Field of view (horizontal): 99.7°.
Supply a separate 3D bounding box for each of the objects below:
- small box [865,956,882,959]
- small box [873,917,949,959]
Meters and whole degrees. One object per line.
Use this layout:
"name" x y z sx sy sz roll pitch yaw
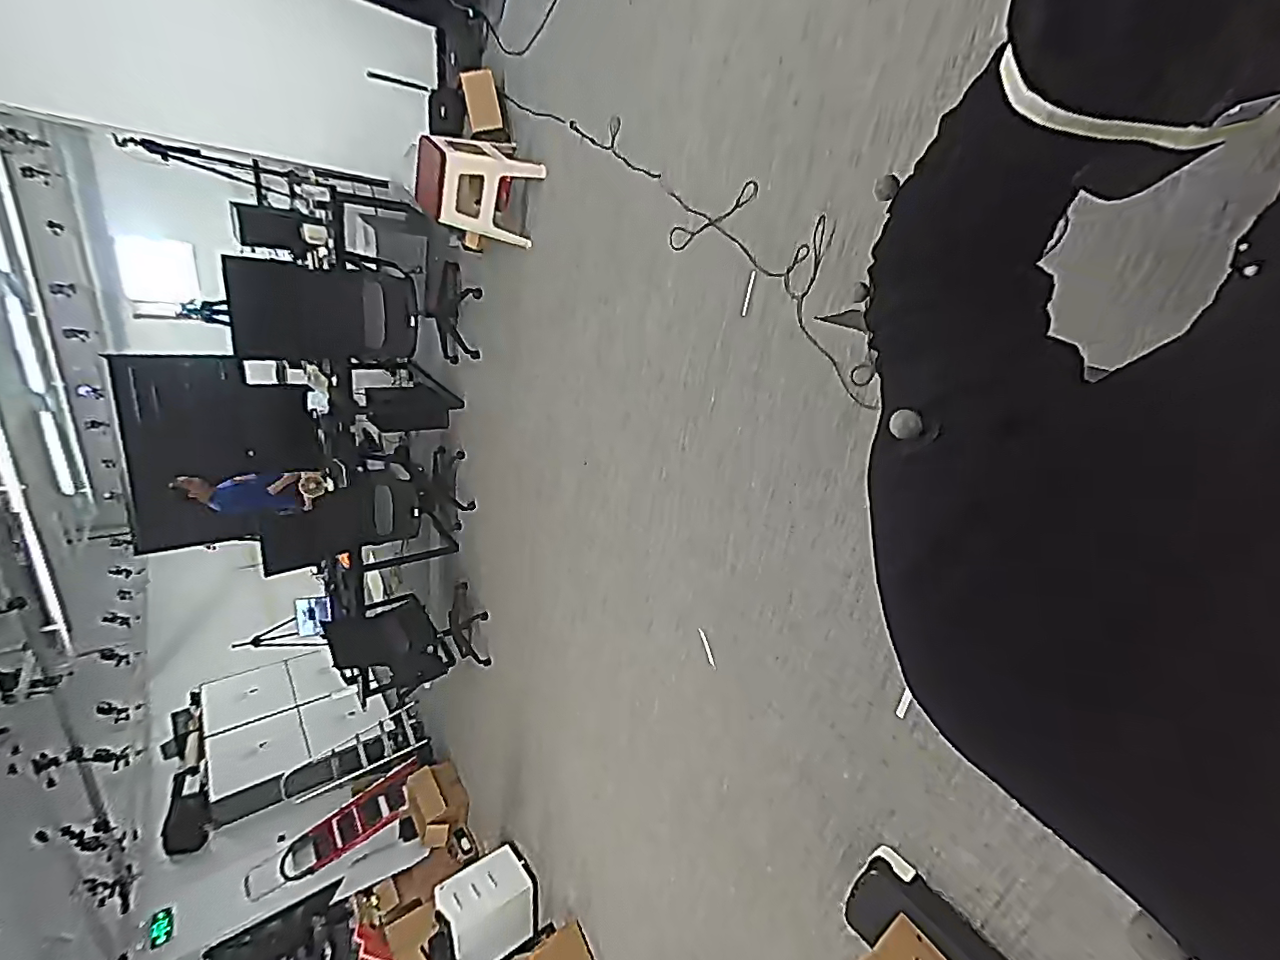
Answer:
"small box" 0.583 1.343 1.344 0.179 0.176 0.168 40 127 38
"small box" 0.716 1.325 1.437 0.168 0.176 0.179 38 126 41
